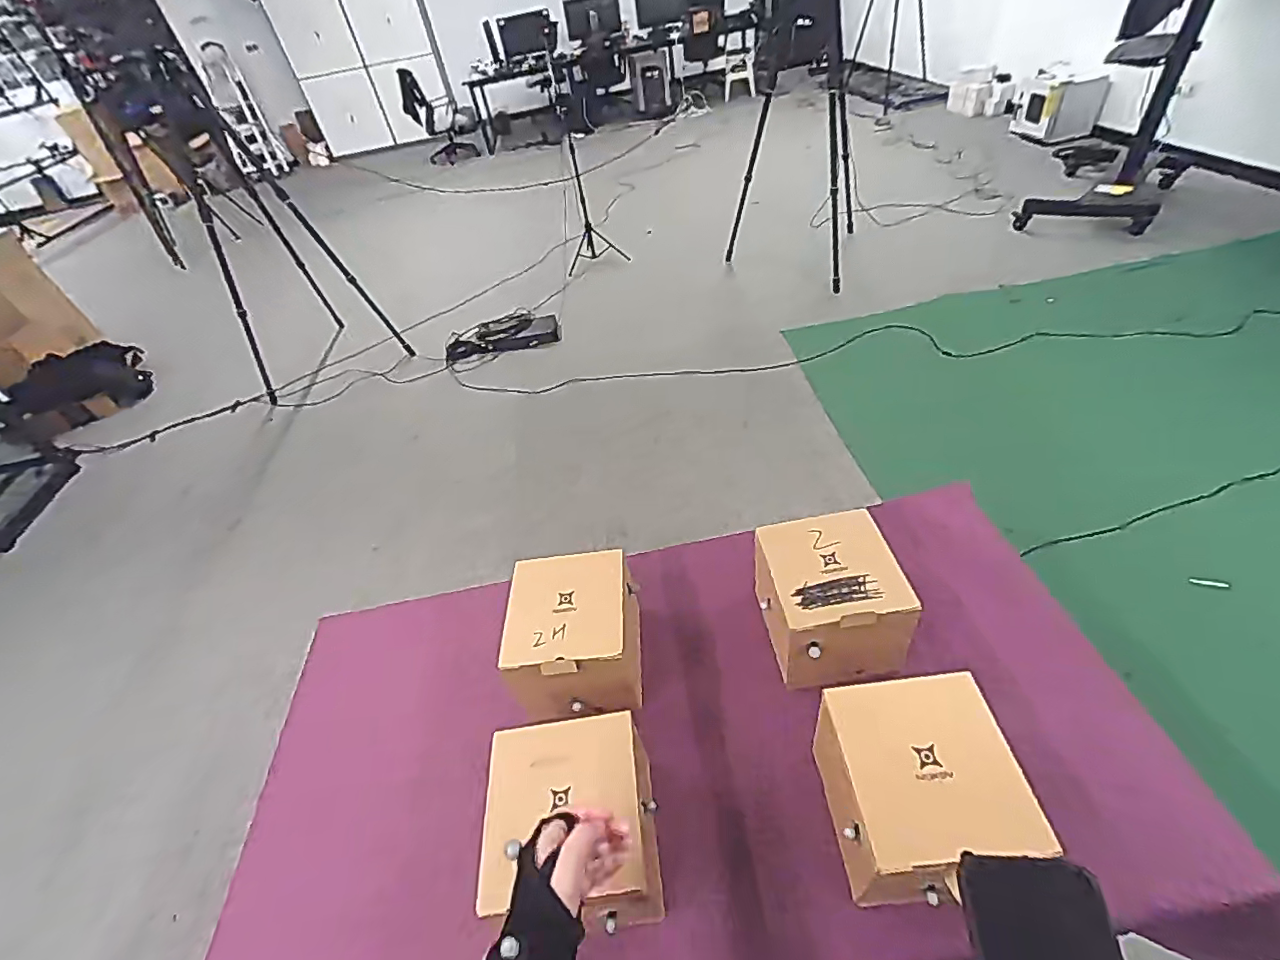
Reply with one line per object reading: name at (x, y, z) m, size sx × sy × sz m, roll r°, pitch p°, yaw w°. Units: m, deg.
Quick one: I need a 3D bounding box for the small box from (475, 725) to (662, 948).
small box at (-0.072, 0.412, 0.620) m, size 0.168 × 0.176 × 0.179 m, roll -9°, pitch 42°, yaw 2°

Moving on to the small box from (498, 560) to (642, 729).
small box at (-0.092, 0.243, 0.800) m, size 0.168 × 0.176 × 0.179 m, roll -8°, pitch 43°, yaw 6°

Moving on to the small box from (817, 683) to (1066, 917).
small box at (0.303, 0.352, 0.596) m, size 0.168 × 0.176 × 0.179 m, roll -9°, pitch 43°, yaw 4°
